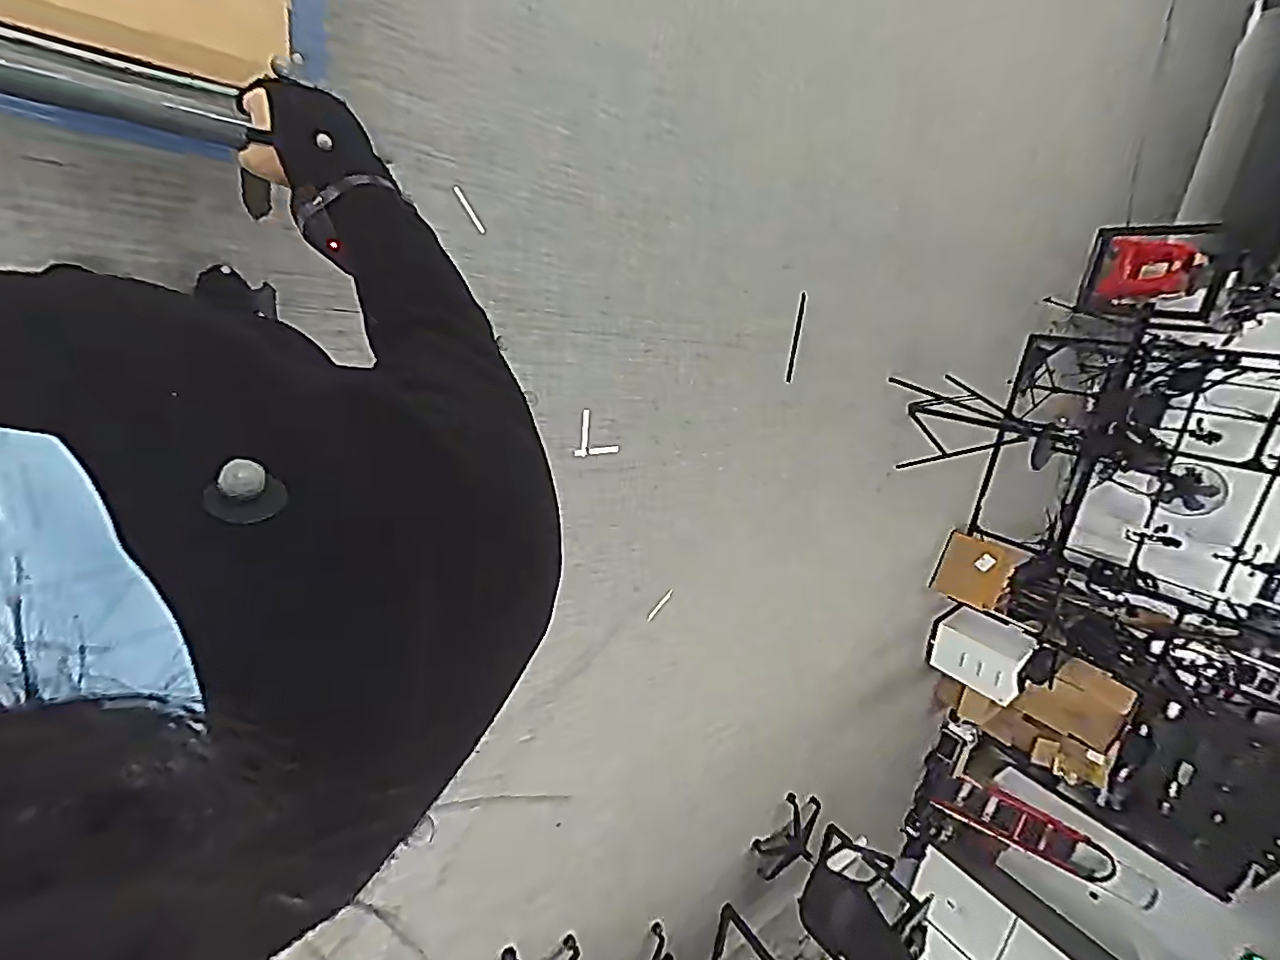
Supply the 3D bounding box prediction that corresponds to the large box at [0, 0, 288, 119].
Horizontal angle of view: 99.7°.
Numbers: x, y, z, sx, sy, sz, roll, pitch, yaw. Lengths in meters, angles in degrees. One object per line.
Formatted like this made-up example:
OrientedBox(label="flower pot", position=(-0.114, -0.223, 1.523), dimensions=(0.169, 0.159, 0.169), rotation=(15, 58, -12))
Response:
OrientedBox(label="large box", position=(-0.730, -0.723, 0.709), dimensions=(0.408, 0.320, 0.320), rotation=(-7, 116, -38))
